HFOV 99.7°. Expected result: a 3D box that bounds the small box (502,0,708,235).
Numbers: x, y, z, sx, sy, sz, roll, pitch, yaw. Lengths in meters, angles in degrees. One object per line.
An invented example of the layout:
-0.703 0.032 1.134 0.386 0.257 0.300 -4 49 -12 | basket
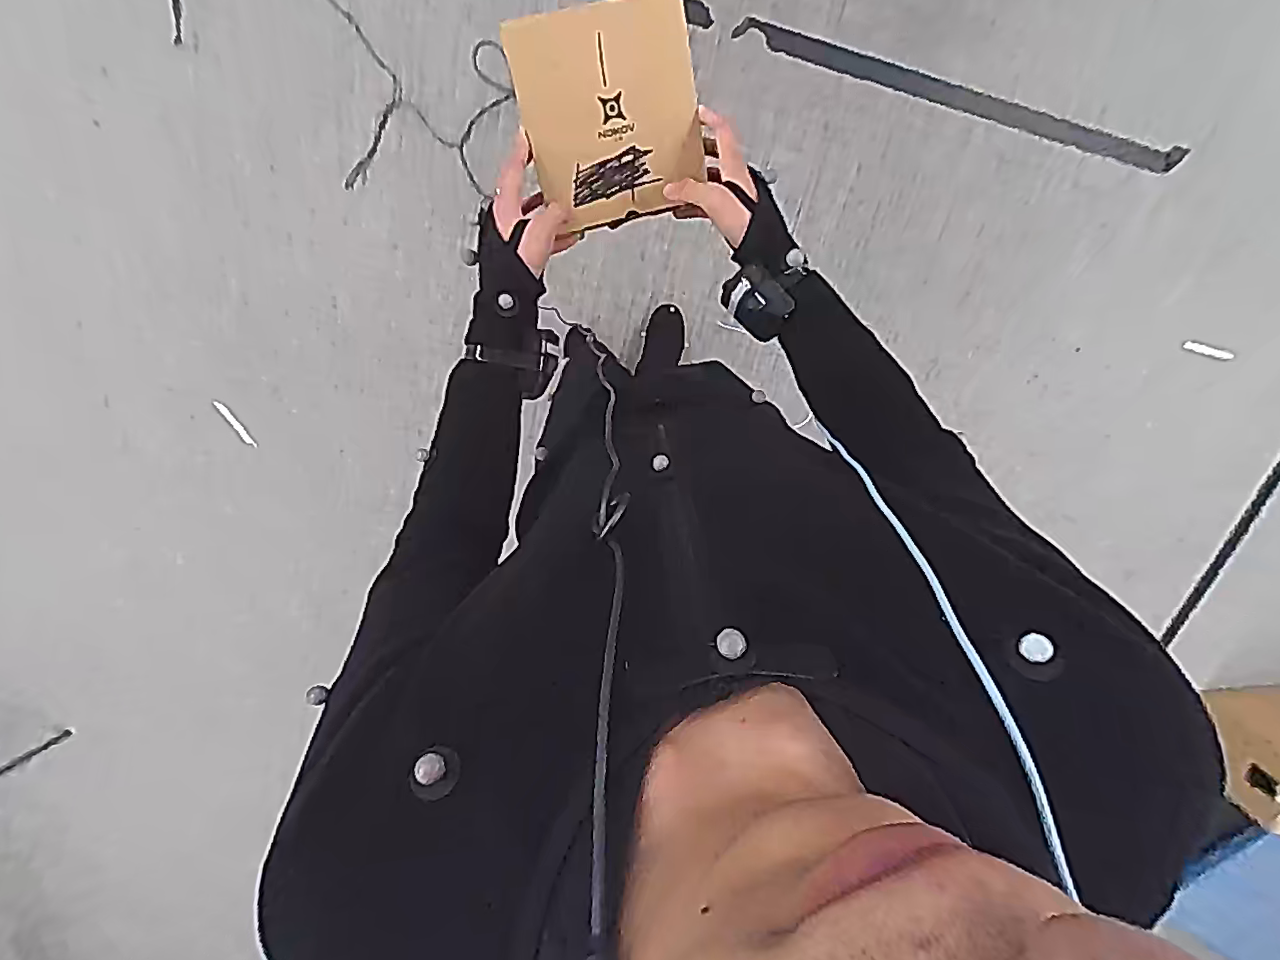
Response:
-0.035 -0.374 0.574 0.168 0.176 0.179 -14 117 -2 | small box
